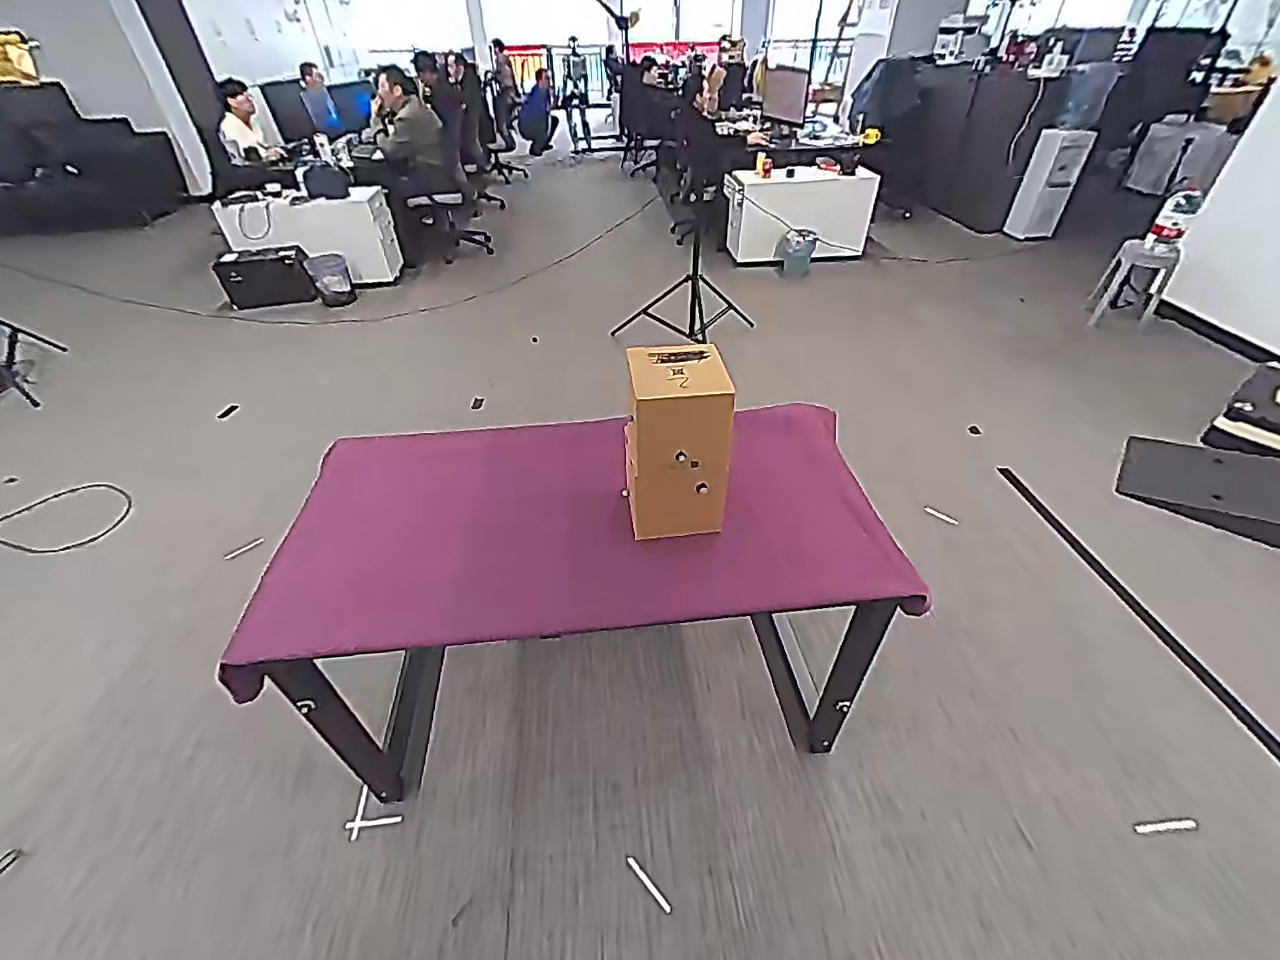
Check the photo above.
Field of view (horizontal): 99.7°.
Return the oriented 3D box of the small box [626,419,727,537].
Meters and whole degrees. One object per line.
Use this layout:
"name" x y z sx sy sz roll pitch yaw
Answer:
"small box" 0.067 -0.003 1.093 0.179 0.176 0.168 -6 40 -4
